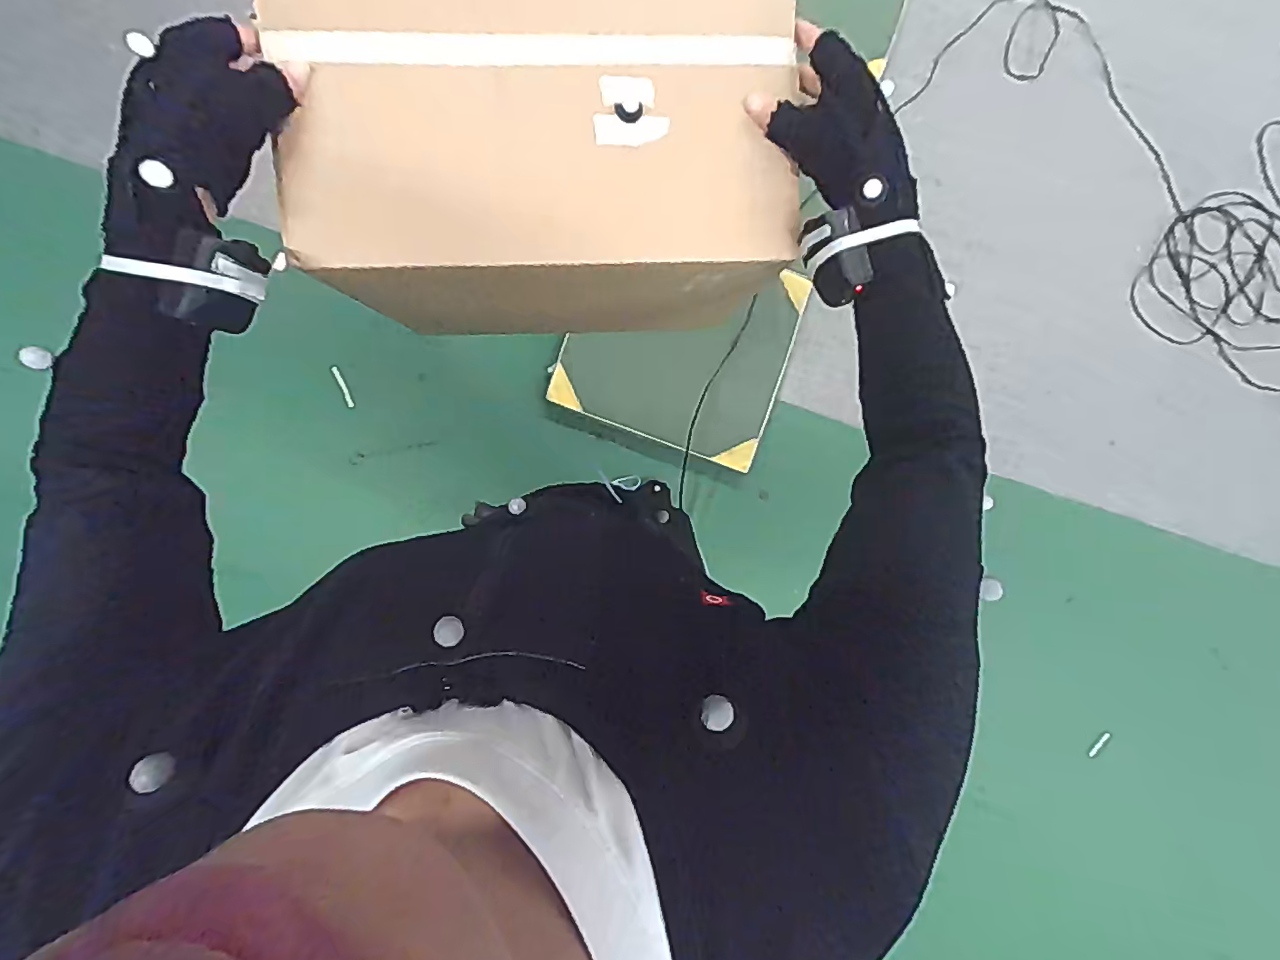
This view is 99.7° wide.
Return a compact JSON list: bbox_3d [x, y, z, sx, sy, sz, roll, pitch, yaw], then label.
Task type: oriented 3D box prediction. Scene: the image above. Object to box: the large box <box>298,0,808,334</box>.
[{"bbox_3d":[-0.077,-0.345,0.577,0.408,0.320,0.320,-3,96,-6],"label":"large box"}]
